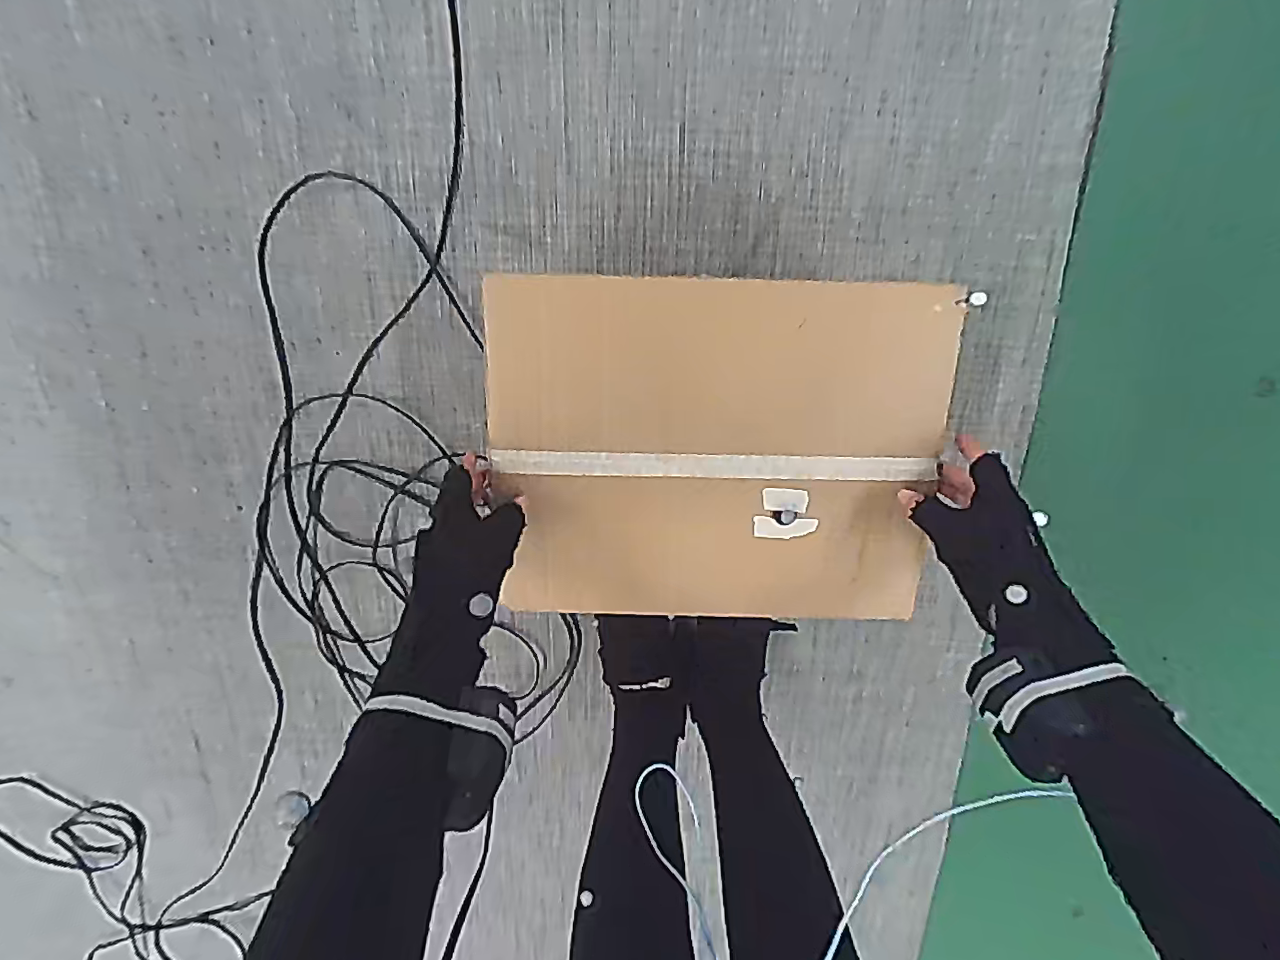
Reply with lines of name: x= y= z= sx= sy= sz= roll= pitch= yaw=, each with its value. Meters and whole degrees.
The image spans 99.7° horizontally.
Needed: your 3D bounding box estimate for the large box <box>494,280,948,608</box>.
large box: x=0.068 y=-0.057 z=0.649 sx=0.408 sy=0.320 sz=0.320 roll=1 pitch=106 yaw=0
